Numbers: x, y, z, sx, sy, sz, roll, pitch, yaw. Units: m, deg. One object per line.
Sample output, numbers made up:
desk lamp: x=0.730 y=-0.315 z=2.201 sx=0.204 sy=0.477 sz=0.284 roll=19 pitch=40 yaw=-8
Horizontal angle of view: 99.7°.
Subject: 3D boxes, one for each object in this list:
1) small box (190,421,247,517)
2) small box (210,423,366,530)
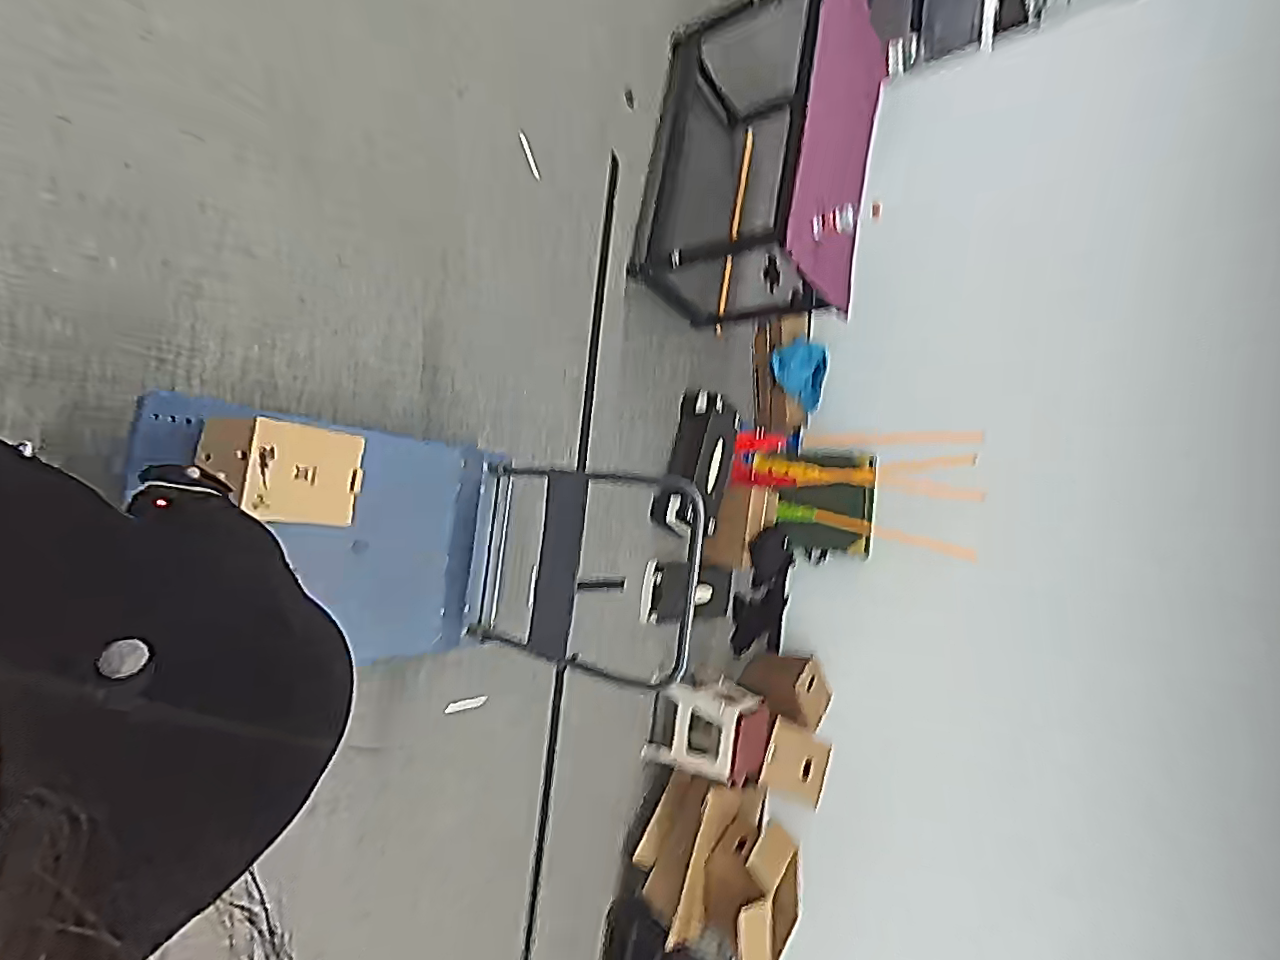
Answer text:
small box: x=-0.766 y=-0.013 z=1.081 sx=0.168 sy=0.176 sz=0.179 roll=18 pitch=79 yaw=-51
small box: x=-0.636 y=-0.006 z=0.980 sx=0.179 sy=0.176 sz=0.168 roll=14 pitch=82 yaw=-52
